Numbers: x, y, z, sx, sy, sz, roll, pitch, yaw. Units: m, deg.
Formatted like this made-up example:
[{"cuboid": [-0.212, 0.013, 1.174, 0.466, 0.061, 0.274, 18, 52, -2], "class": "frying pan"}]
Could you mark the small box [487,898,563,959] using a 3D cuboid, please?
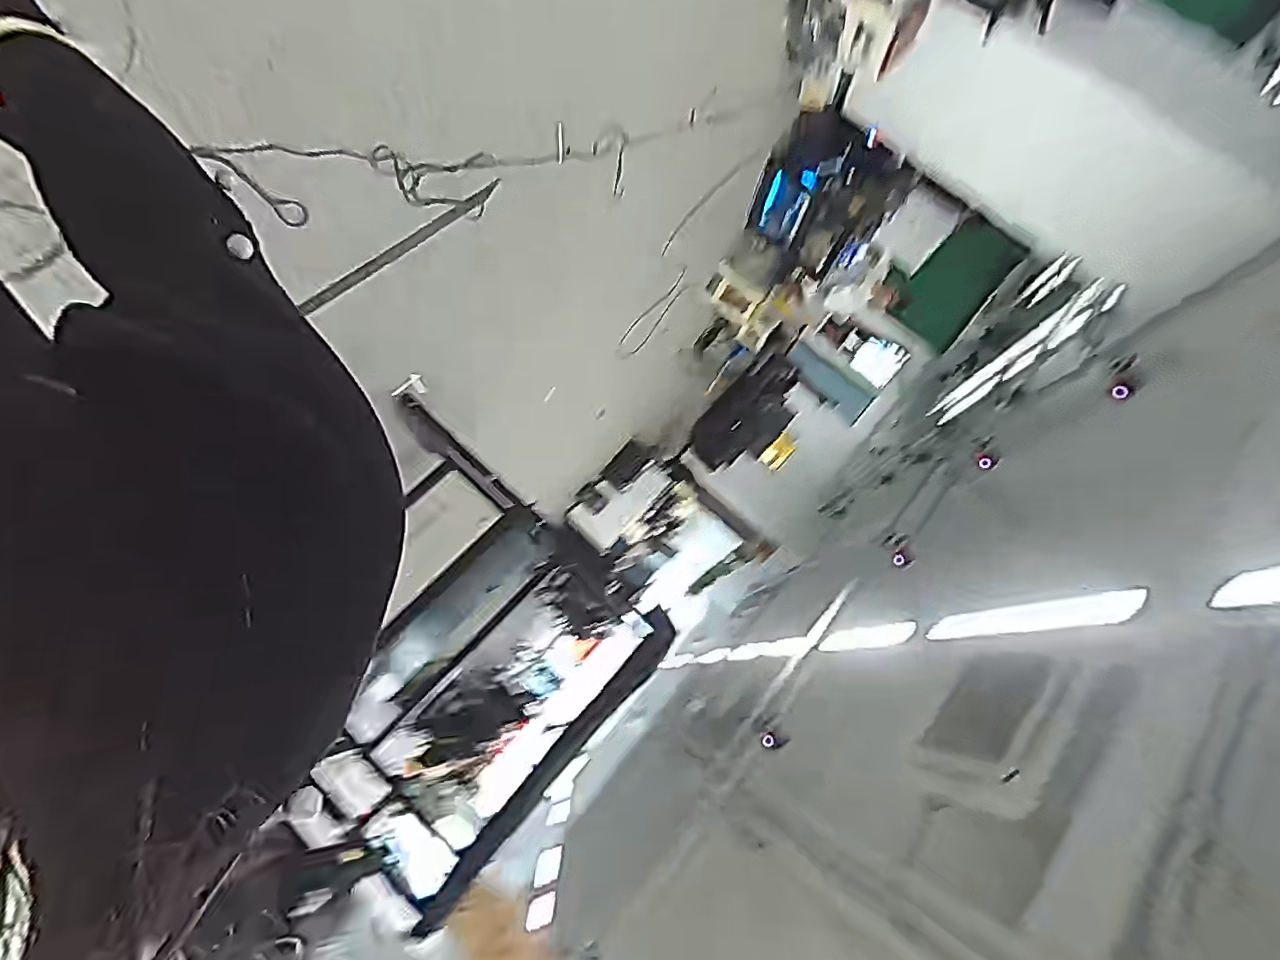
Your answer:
[{"cuboid": [-0.365, 1.492, 1.726, 0.168, 0.176, 0.179, -47, 170, -19], "class": "small box"}]
